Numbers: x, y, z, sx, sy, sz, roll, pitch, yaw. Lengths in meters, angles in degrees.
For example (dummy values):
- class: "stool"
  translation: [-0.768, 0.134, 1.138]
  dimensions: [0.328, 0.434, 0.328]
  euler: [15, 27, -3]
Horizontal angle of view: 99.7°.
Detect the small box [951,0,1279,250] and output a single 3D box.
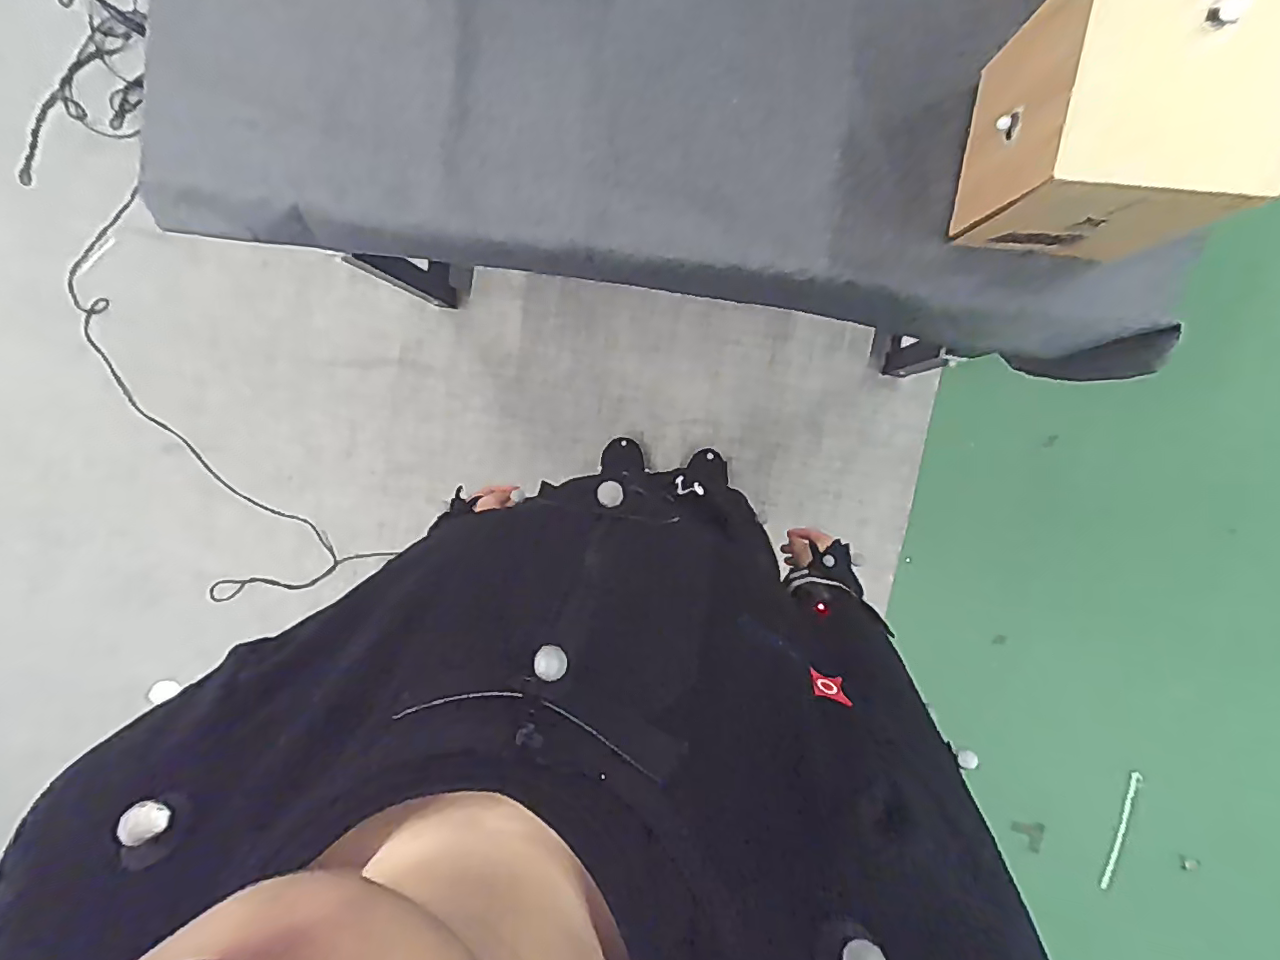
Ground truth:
- class: "small box"
  translation: [0.412, -0.318, 0.473]
  dimensions: [0.168, 0.179, 0.176]
  euler: [7, 100, 4]
